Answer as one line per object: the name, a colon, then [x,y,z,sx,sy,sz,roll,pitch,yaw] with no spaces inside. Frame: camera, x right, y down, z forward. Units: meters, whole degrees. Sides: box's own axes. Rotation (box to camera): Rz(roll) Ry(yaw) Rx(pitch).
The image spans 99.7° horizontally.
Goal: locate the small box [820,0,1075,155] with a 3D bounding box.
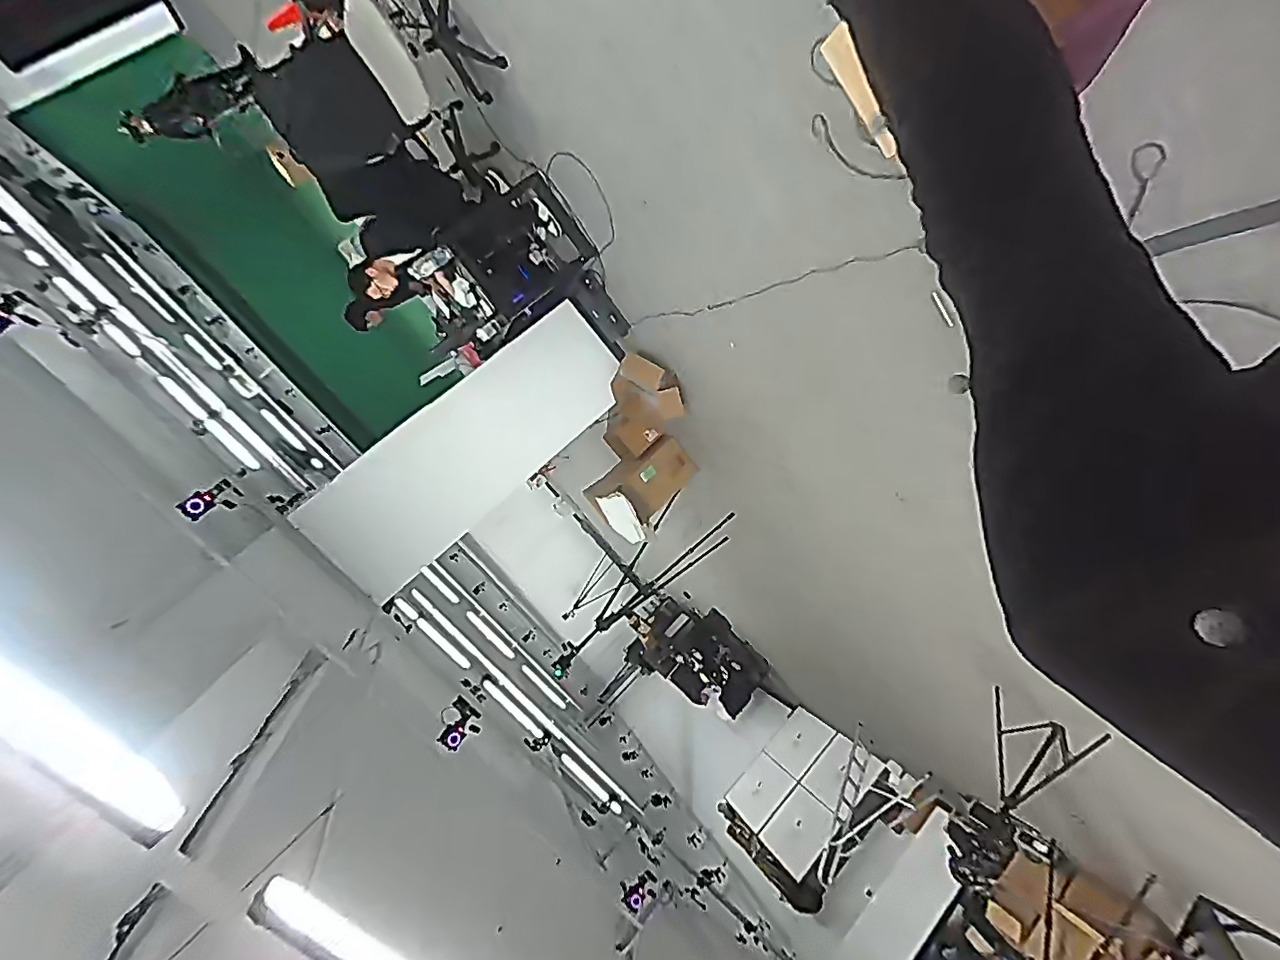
small box: [0.362,-0.543,0.641,0.168,0.176,0.179,50,164,-11]
